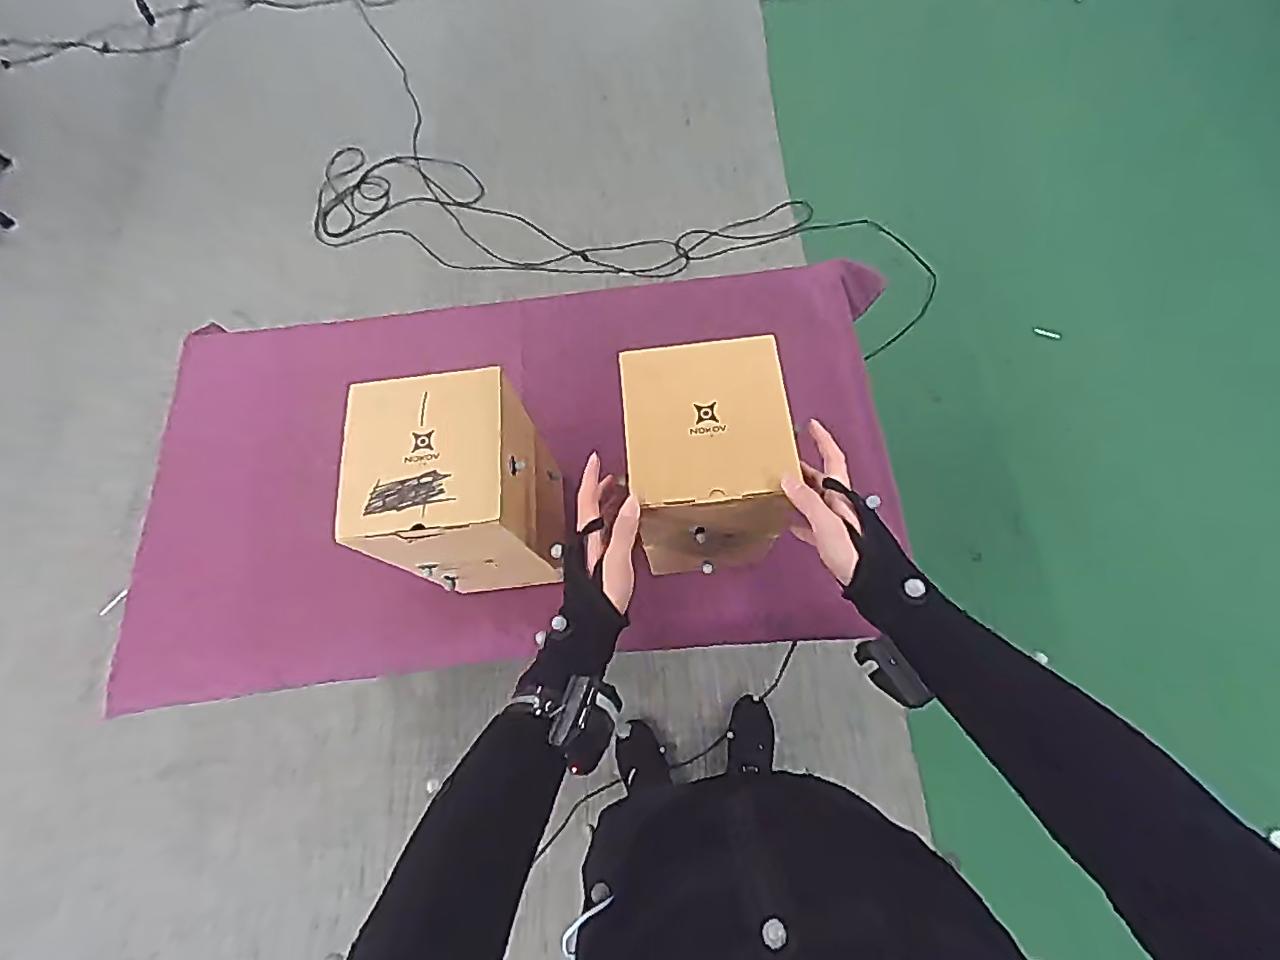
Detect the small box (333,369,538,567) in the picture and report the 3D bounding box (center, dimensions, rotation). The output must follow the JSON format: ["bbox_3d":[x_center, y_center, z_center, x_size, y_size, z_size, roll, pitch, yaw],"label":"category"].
[{"bbox_3d":[-0.216,-0.001,0.620,0.168,0.176,0.179,-6,68,2],"label":"small box"}]

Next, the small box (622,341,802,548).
[{"bbox_3d":[0.070,-0.032,0.613,0.168,0.176,0.179,-6,70,2],"label":"small box"}]

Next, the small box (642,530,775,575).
[{"bbox_3d":[0.083,0.028,0.764,0.168,0.176,0.179,-6,69,2],"label":"small box"}]
